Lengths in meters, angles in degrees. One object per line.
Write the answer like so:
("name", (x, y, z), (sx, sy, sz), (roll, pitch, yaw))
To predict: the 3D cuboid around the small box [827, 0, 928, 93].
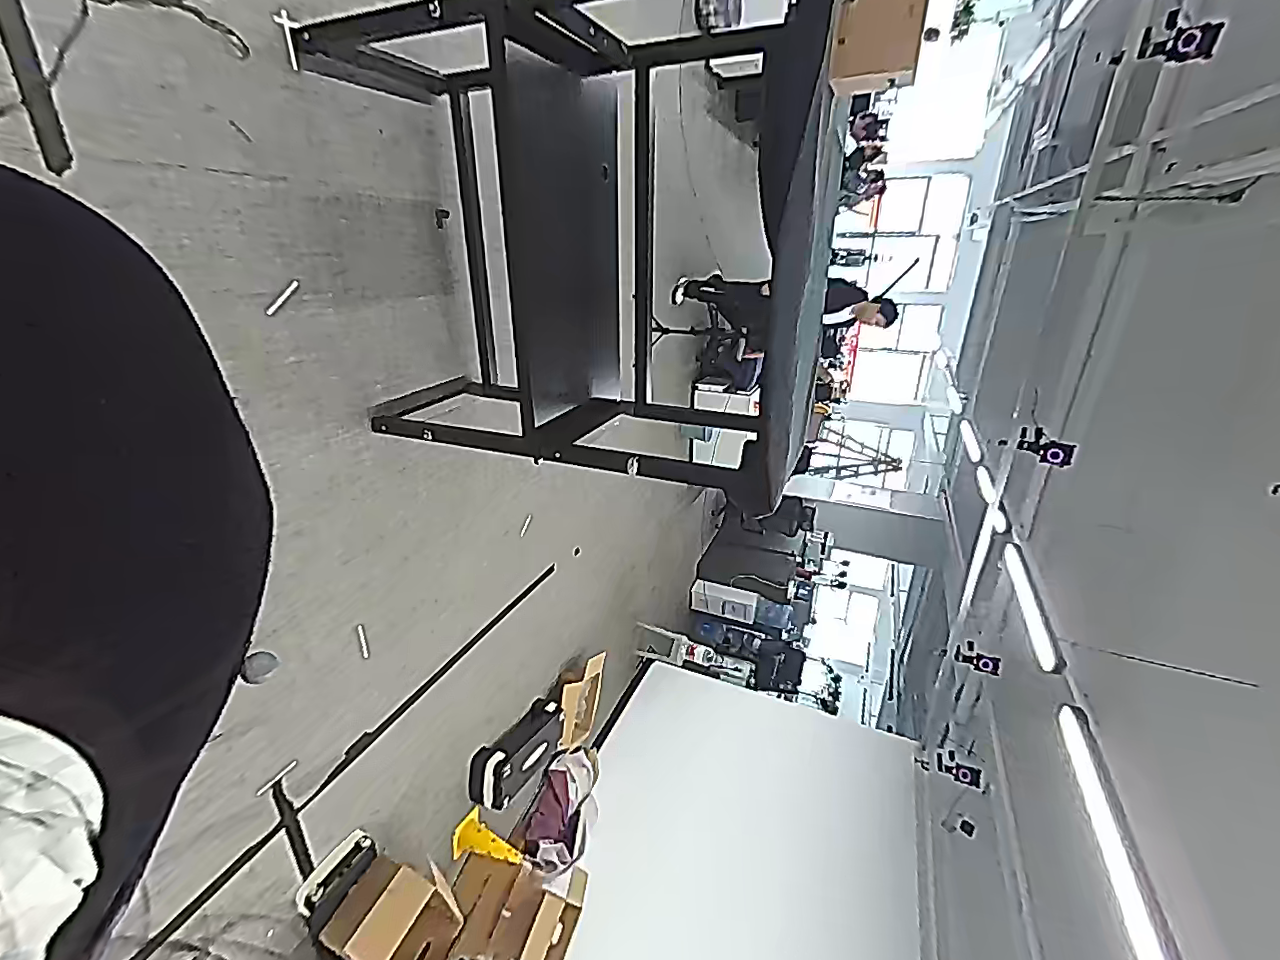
("small box", (0.486, -0.912, 1.108), (0.179, 0.176, 0.168), (-45, 141, -56))
